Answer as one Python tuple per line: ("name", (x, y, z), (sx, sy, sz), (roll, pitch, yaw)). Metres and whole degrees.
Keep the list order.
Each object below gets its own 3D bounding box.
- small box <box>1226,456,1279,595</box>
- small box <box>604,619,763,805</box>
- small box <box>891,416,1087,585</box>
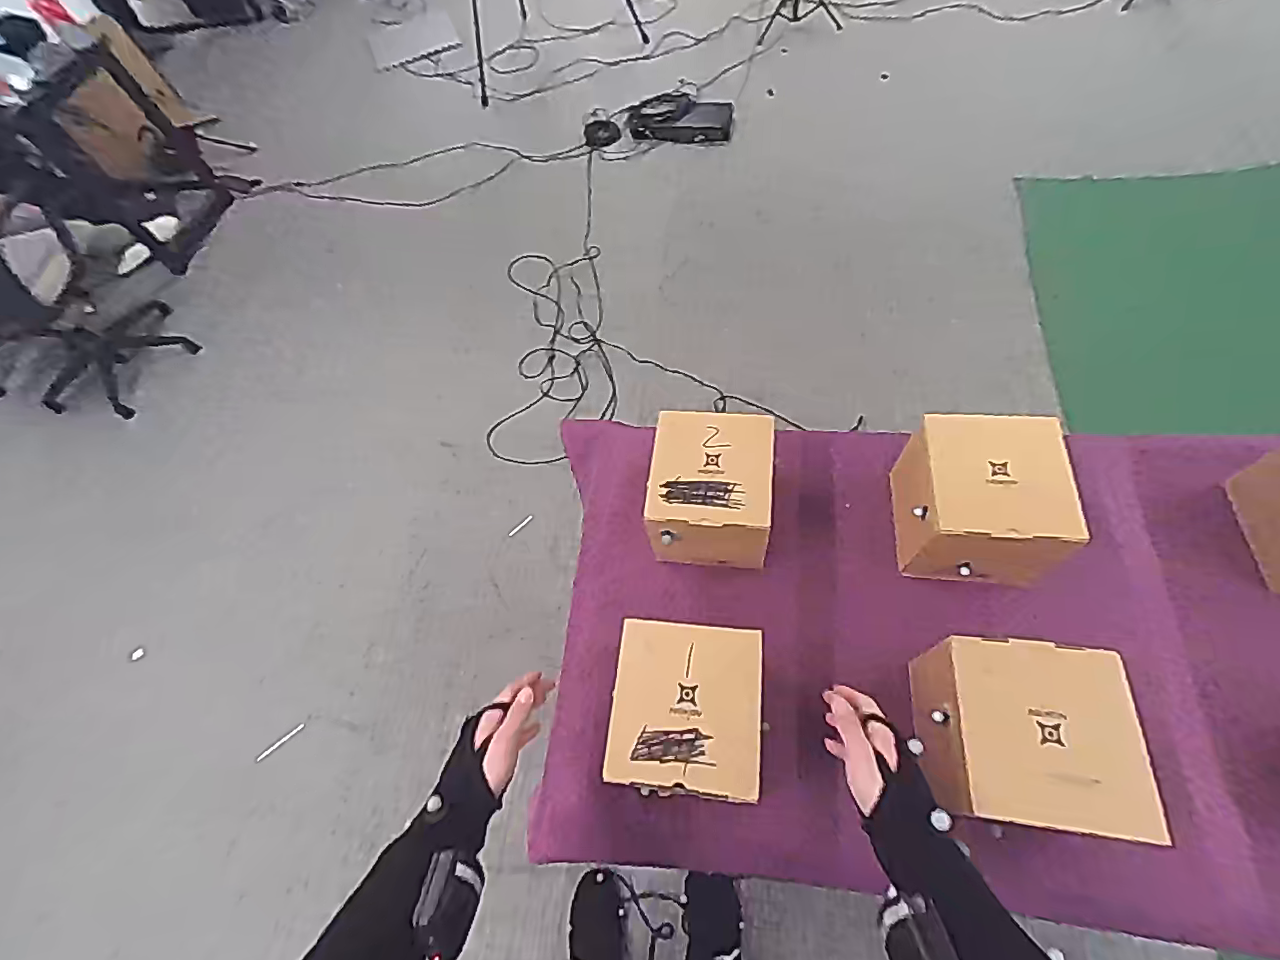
("small box", (0.911, 0.046, 0.674), (0.168, 0.176, 0.179), (1, 62, 12))
("small box", (0.062, 0.286, 0.667), (0.168, 0.176, 0.179), (3, 61, 9))
("small box", (0.463, 0.032, 0.753), (0.168, 0.176, 0.179), (3, 63, 9))
